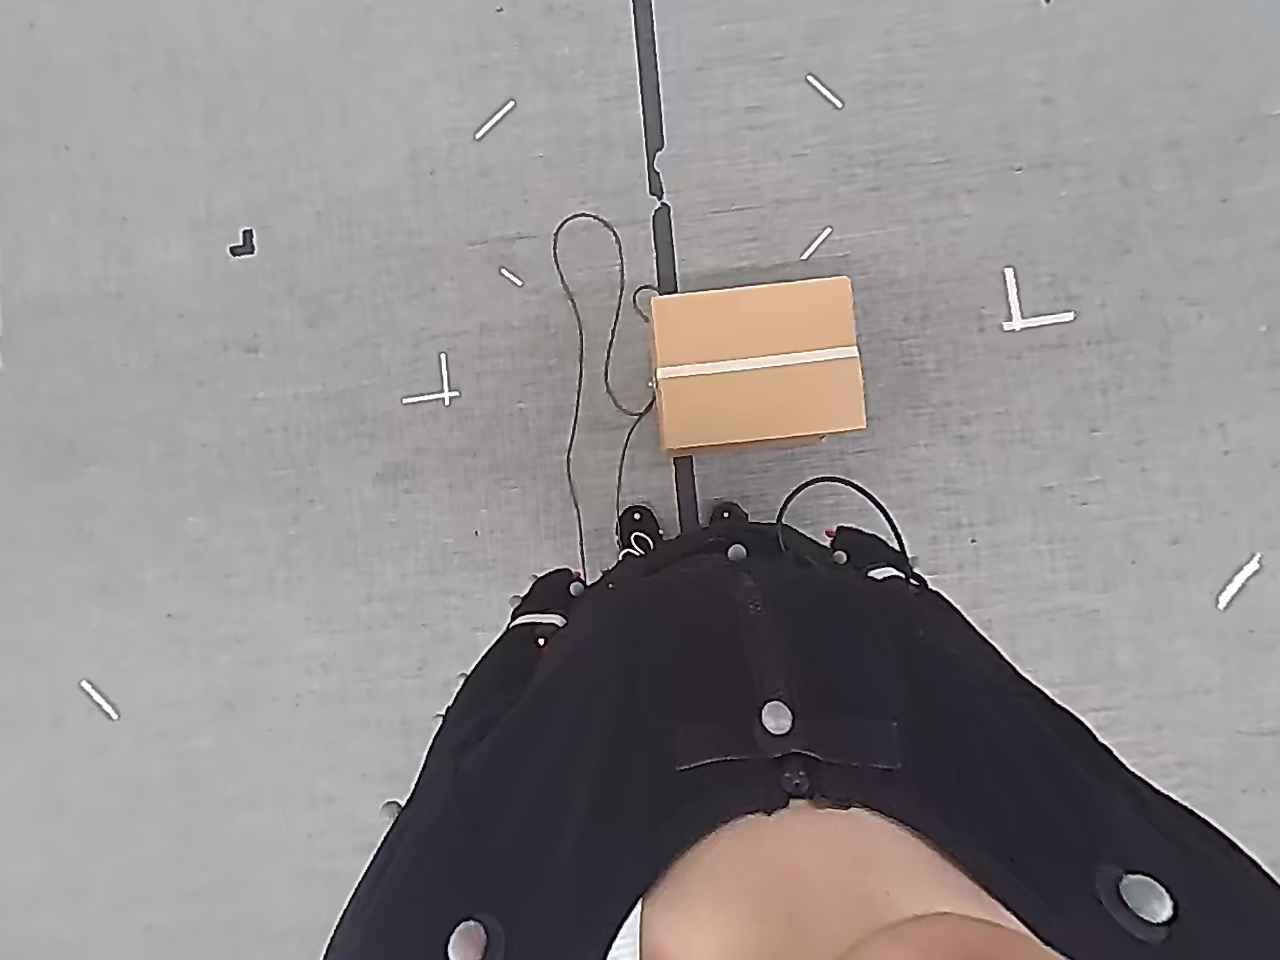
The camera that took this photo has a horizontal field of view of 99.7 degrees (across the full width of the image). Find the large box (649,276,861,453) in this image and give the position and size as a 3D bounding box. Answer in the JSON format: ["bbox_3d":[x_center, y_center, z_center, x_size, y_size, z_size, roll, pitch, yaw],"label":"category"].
[{"bbox_3d":[0.238,-0.240,1.243,0.408,0.320,0.320,-6,89,1],"label":"large box"}]
